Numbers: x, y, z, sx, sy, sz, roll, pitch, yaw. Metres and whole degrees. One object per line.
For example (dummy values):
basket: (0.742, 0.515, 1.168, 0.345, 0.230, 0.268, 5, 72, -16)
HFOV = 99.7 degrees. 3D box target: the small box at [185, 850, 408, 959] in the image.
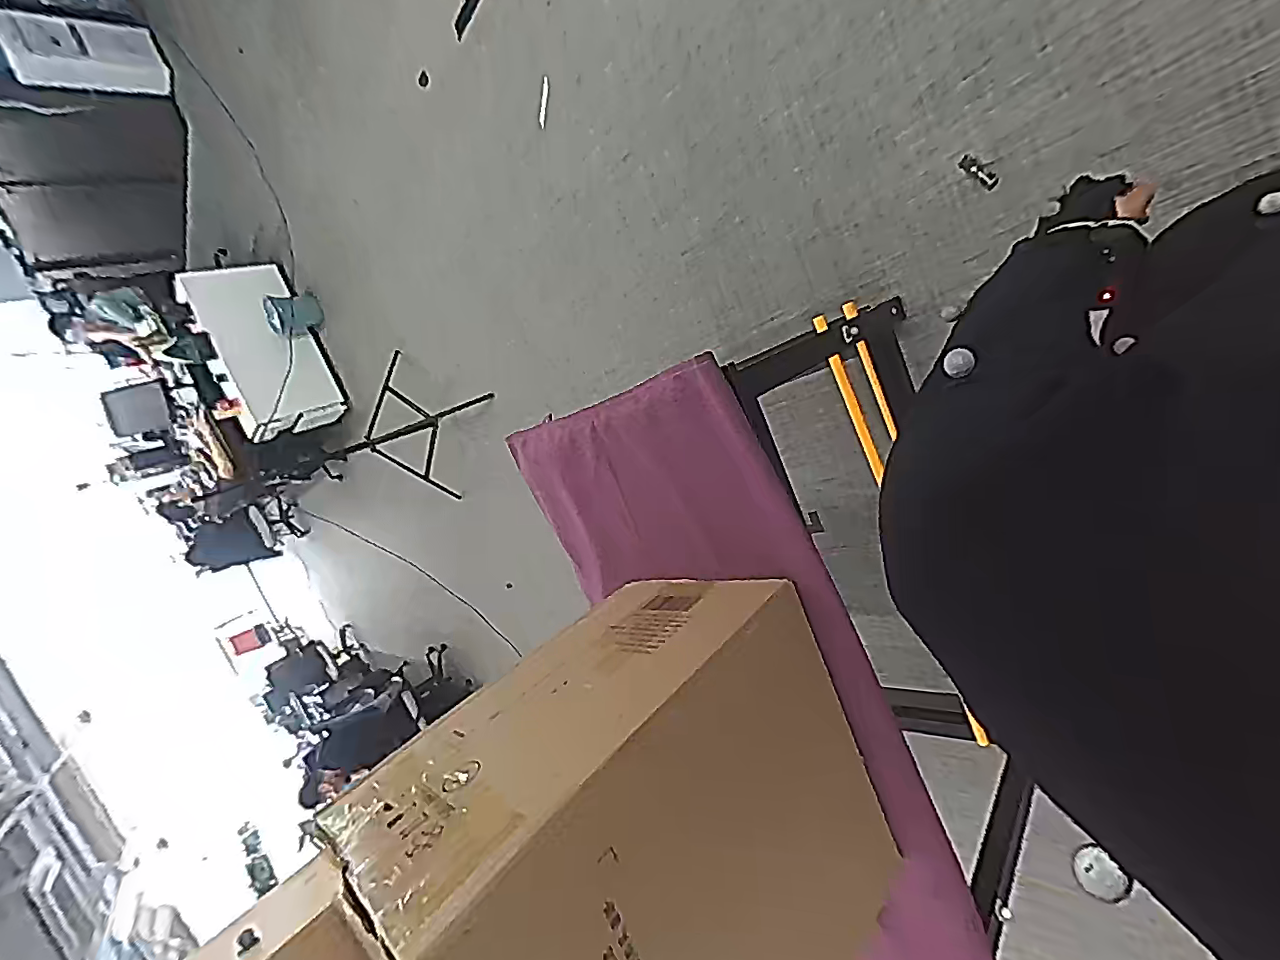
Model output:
small box: (-0.376, 0.564, 0.603, 0.168, 0.176, 0.179, -22, 98, 49)
